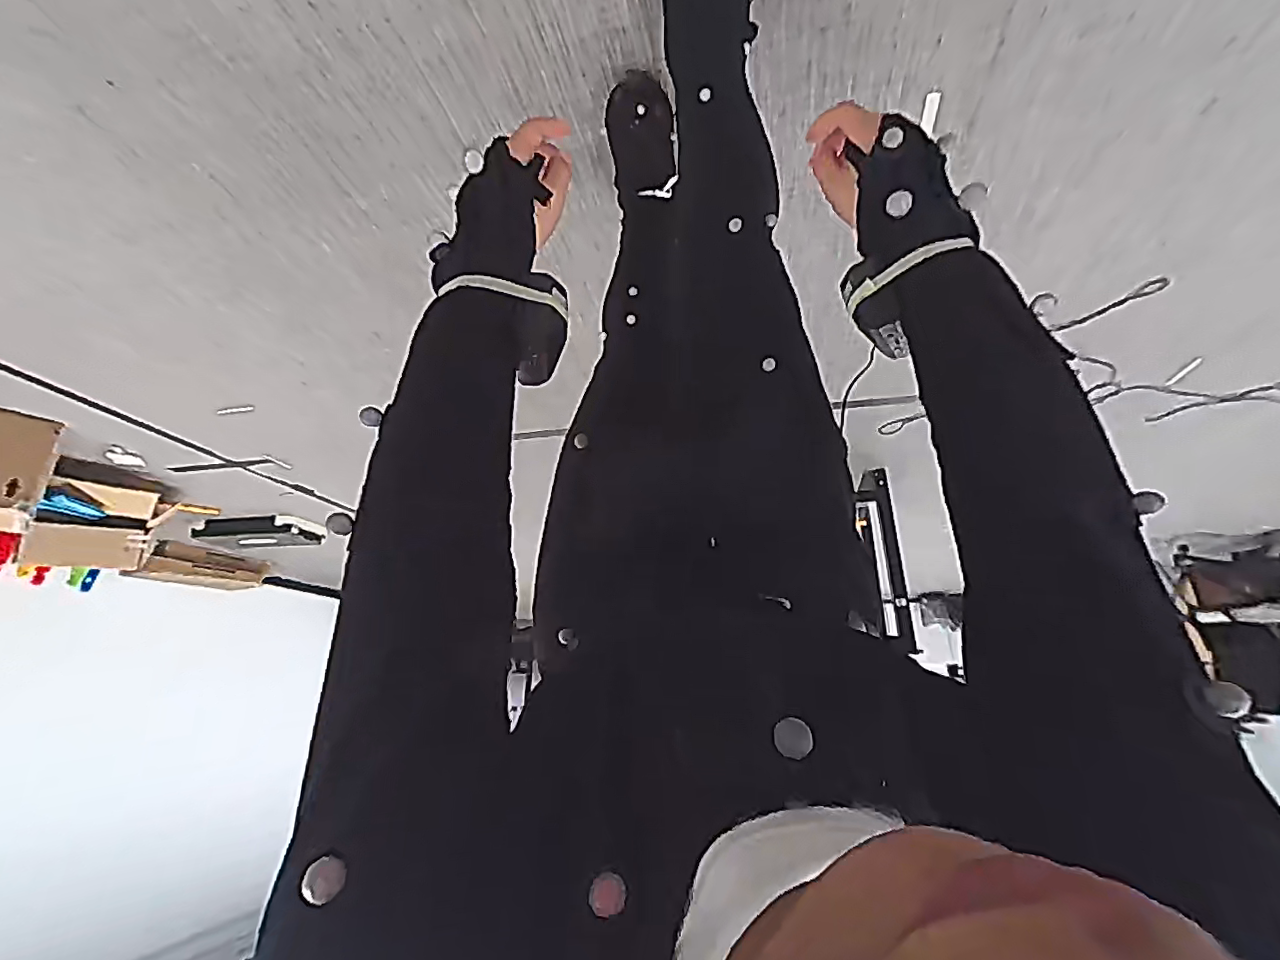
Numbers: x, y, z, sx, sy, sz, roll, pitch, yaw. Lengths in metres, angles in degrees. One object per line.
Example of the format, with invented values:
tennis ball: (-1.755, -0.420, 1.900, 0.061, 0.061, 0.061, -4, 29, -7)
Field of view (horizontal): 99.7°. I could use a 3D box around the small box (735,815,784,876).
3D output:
small box: (0.485, 1.472, 2.189, 0.179, 0.176, 0.168, -6, 159, 14)
